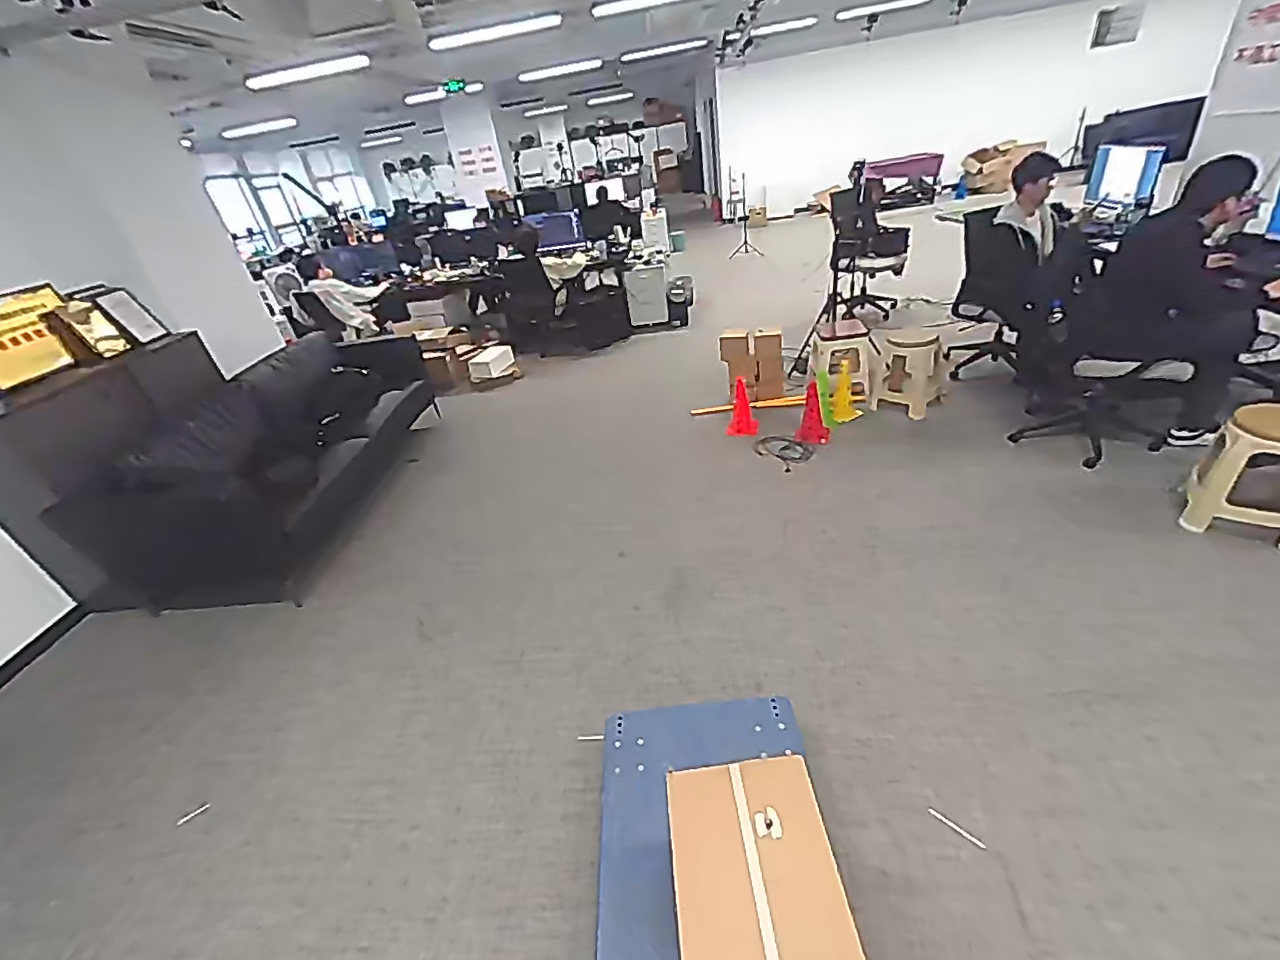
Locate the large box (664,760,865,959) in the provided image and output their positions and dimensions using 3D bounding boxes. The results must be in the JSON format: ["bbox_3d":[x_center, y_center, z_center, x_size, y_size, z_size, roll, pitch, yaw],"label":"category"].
[{"bbox_3d":[0.239,0.875,1.118,0.320,0.320,0.408,-9,31,2],"label":"large box"}]
